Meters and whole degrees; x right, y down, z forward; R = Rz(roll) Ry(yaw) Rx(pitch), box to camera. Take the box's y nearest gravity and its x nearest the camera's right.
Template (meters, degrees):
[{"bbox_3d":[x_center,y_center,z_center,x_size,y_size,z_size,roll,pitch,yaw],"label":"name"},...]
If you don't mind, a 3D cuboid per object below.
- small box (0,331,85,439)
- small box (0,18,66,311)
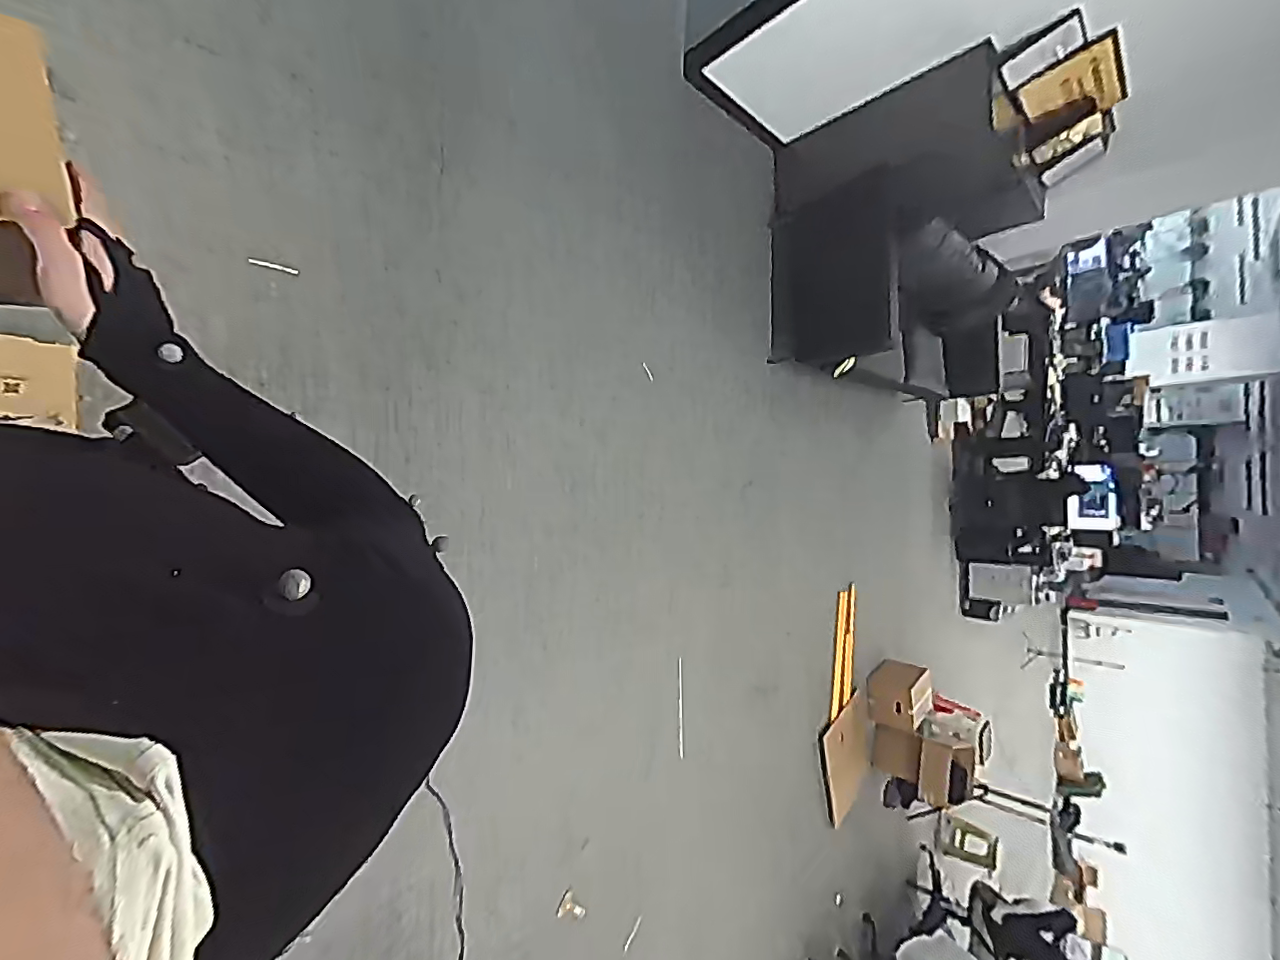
[{"bbox_3d":[-1.213,-0.182,1.059,0.168,0.176,0.179,3,86,-44],"label":"small box"},{"bbox_3d":[-0.588,-0.256,0.427,0.168,0.176,0.179,-11,88,-46],"label":"small box"}]
